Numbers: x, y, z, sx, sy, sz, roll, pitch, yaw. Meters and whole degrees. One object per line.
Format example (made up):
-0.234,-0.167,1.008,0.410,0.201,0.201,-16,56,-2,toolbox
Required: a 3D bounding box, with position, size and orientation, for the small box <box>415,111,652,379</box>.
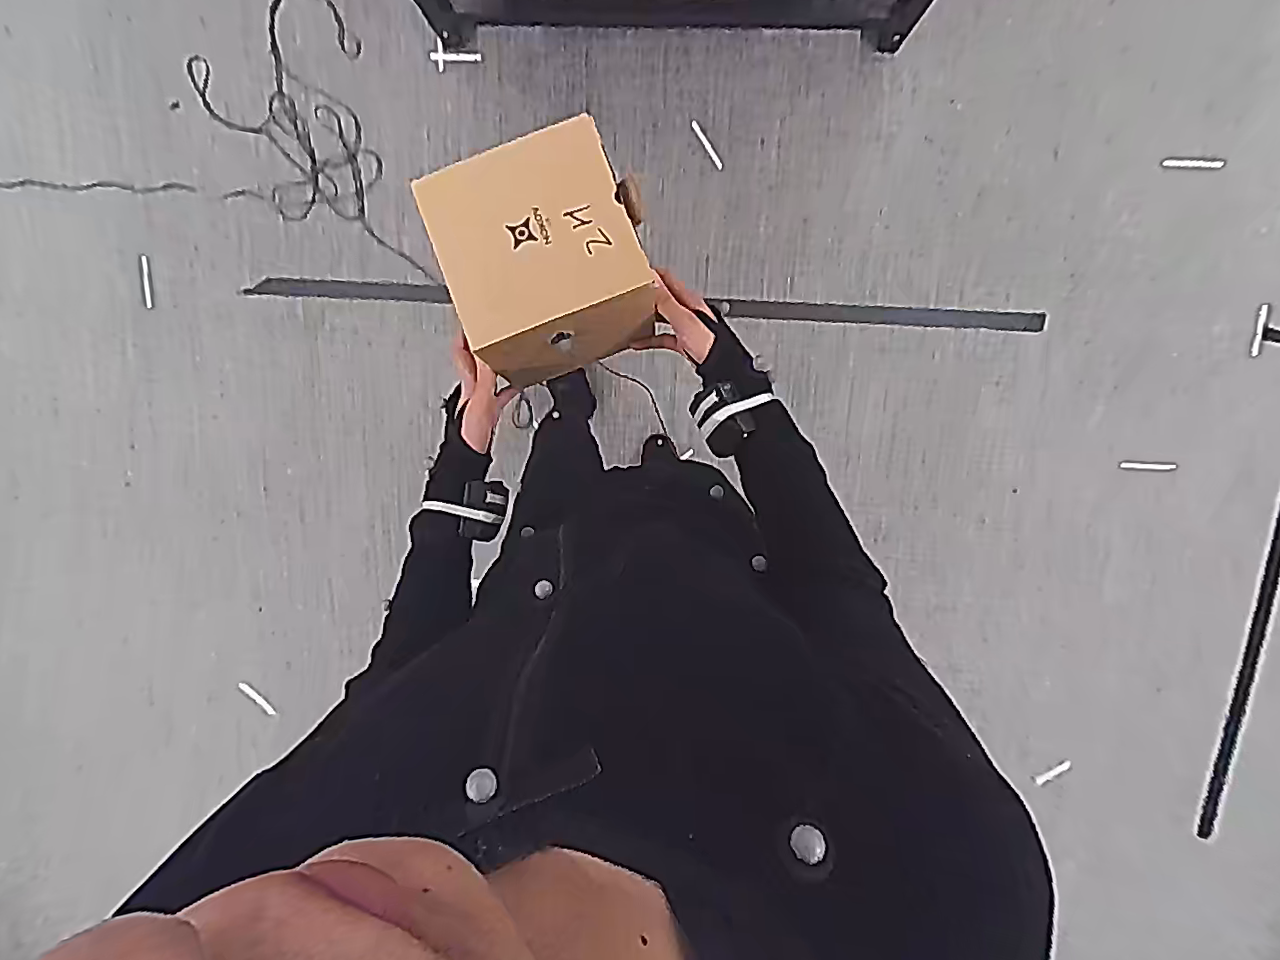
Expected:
-0.093,-0.221,0.559,0.179,0.176,0.168,-21,87,0,small box
